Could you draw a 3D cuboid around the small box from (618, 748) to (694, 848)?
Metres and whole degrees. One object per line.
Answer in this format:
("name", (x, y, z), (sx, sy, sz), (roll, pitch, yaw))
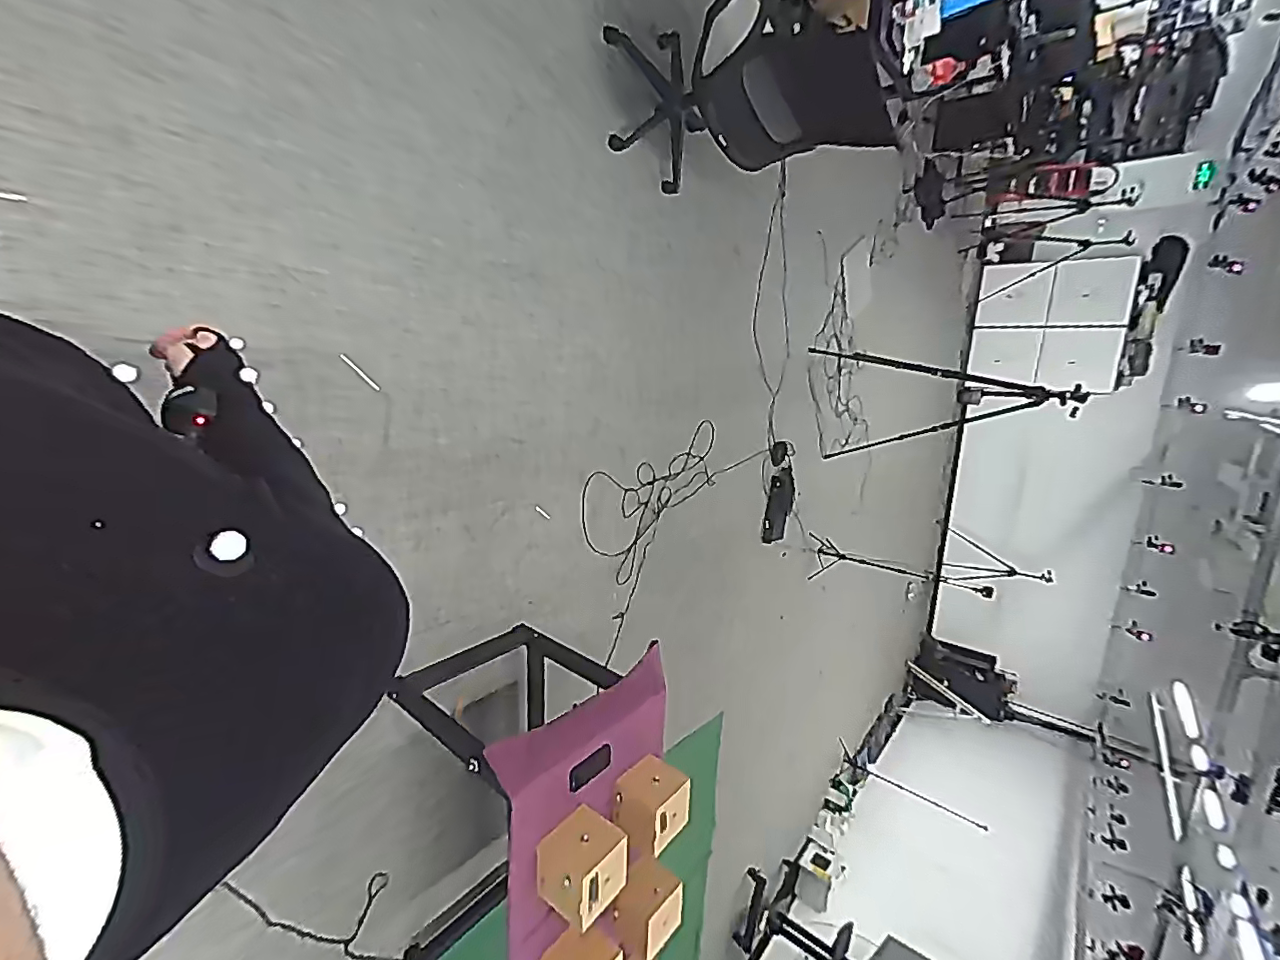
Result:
("small box", (0.047, 0.976, 1.677), (0.179, 0.176, 0.168), (-12, 109, -48))

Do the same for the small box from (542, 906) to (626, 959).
("small box", (-0.161, 1.381, 1.539), (0.179, 0.176, 0.168), (-12, 109, -49))

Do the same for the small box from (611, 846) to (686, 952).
("small box", (0.029, 1.351, 1.760), (0.179, 0.176, 0.168), (-10, 107, -48))
